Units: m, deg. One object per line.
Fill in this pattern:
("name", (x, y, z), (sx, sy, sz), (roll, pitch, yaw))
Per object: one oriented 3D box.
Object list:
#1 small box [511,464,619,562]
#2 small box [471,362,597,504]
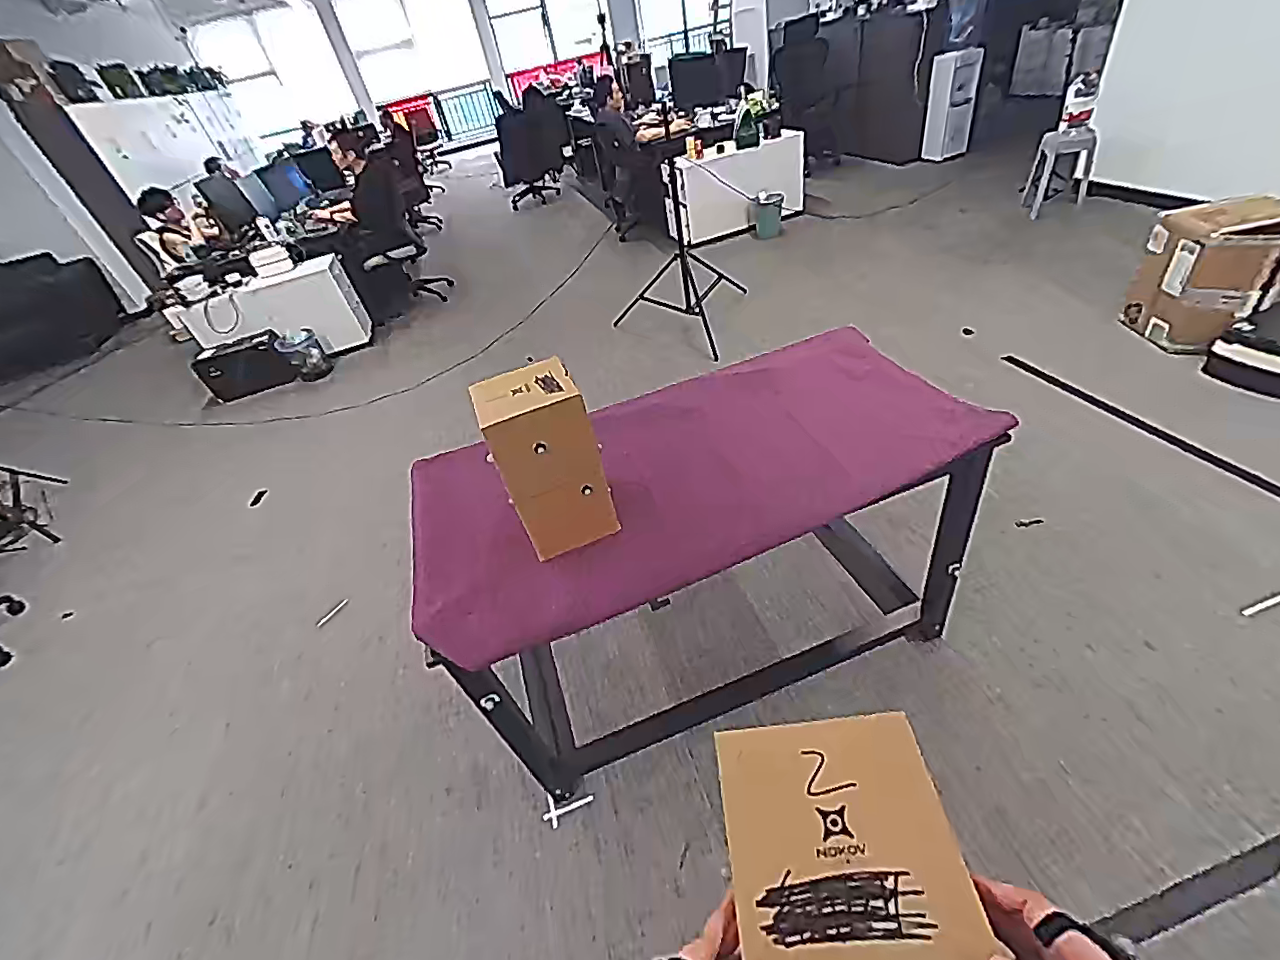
("small box", (-0.161, 0.036, 1.097), (0.179, 0.176, 0.168), (-21, 40, -10))
("small box", (-0.187, -0.086, 0.990), (0.179, 0.176, 0.168), (-22, 40, -9))
